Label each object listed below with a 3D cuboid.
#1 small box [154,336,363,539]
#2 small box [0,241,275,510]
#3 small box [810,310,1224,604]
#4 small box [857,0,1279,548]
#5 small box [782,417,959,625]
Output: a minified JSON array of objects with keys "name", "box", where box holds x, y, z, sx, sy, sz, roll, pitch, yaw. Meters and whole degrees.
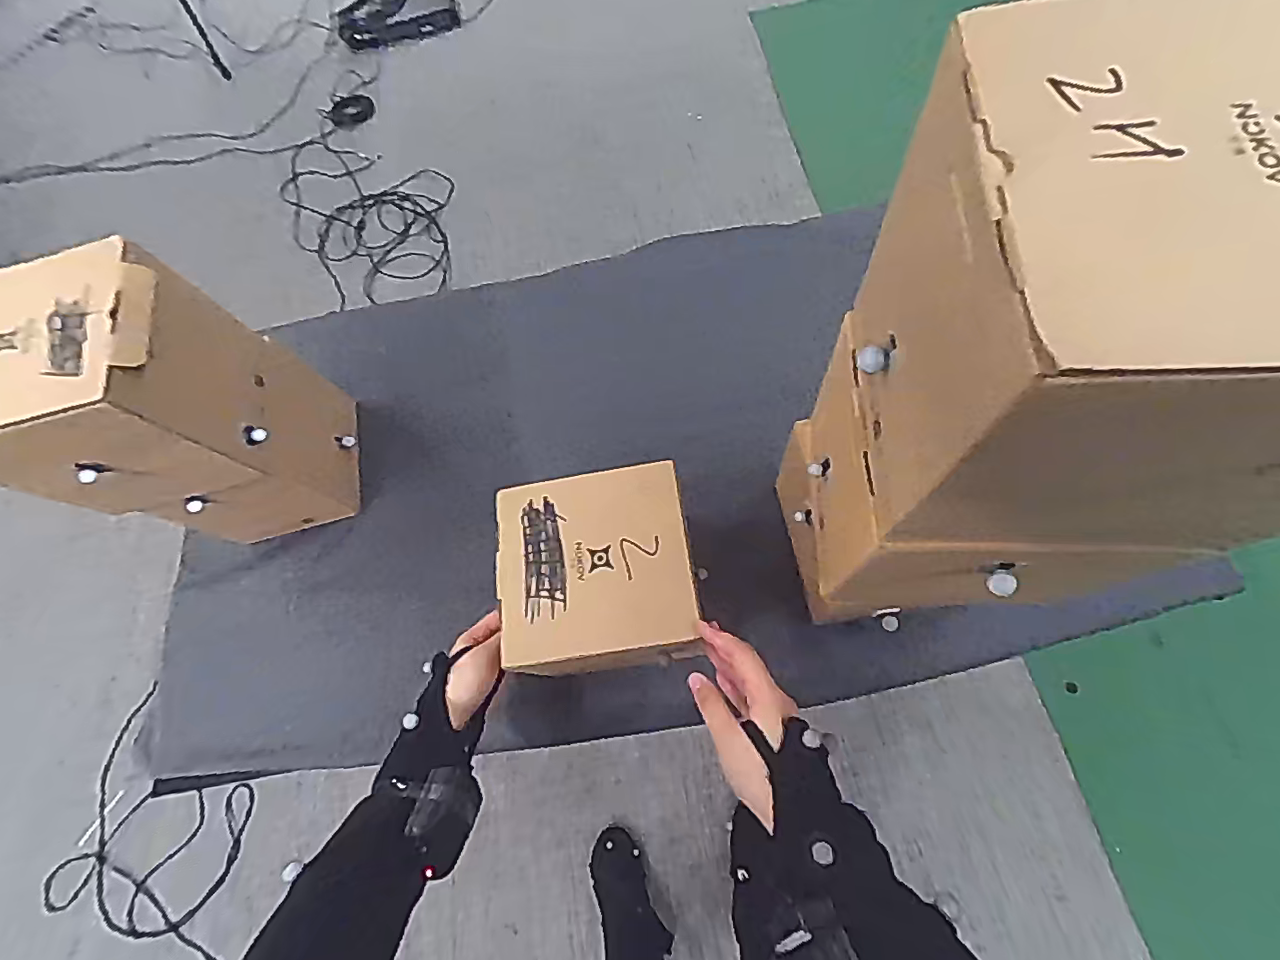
[{"name":"small box","box":[-0.471,-0.043,0.674,0.168,0.176,0.179,-15,69,1]},{"name":"small box","box":[-0.486,-0.085,0.515,0.179,0.176,0.168,-14,70,2]},{"name":"small box","box":[0.230,-0.007,0.392,0.179,0.176,0.168,-1,68,9]},{"name":"small box","box":[0.211,-0.071,0.241,0.179,0.176,0.168,0,68,10]},{"name":"small box","box":[0.249,0.038,0.547,0.168,0.176,0.179,-11,68,4]}]
